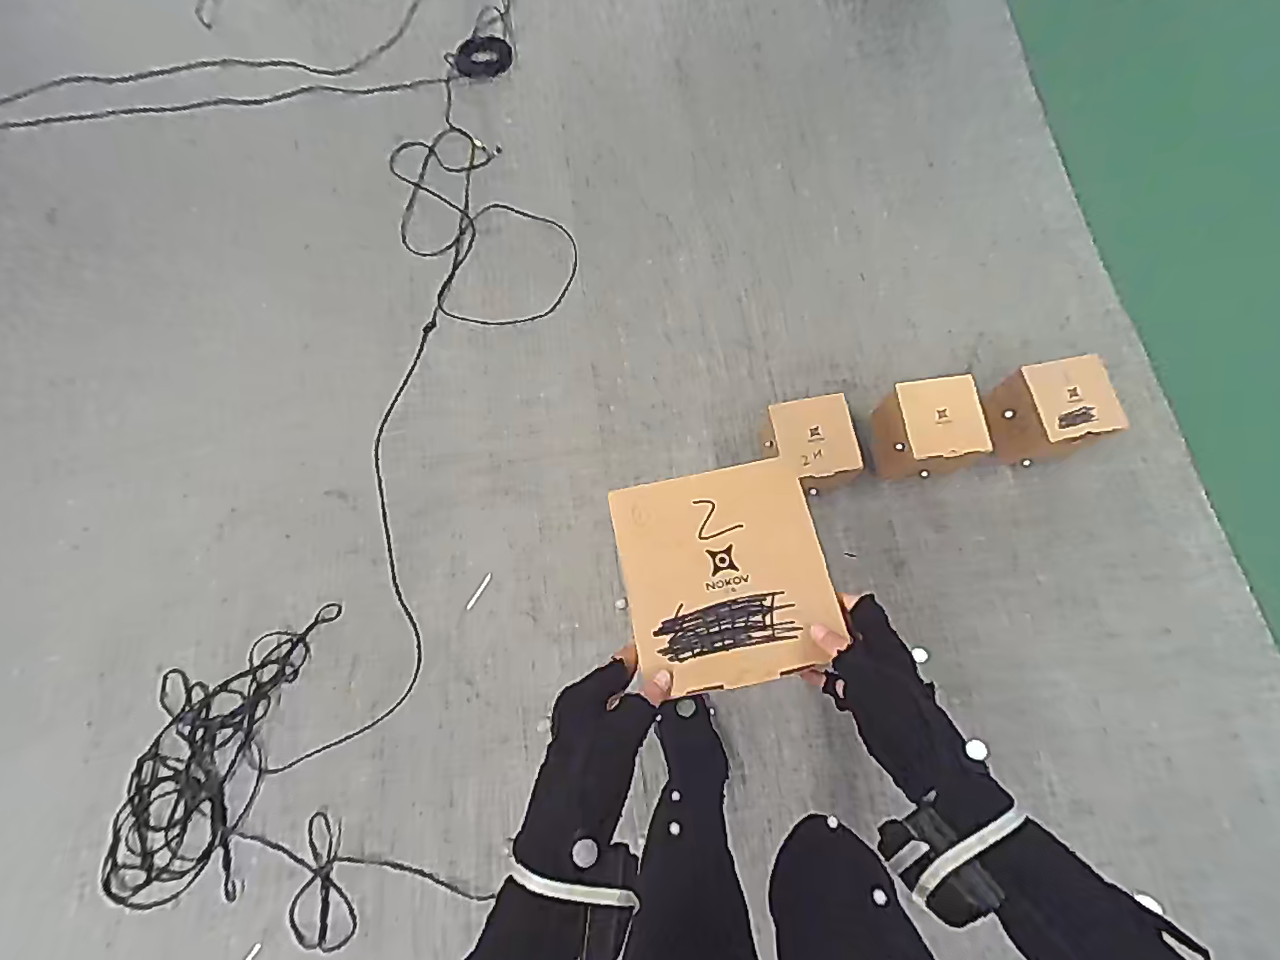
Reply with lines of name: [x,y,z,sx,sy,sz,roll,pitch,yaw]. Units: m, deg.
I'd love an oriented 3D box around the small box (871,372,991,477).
small box: [0.637,-0.119,1.209,0.168,0.176,0.179,-7,75,2]

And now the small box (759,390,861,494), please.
small box: [0.372,-0.080,1.217,0.168,0.176,0.179,-9,75,3]

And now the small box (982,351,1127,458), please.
small box: [0.903,-0.157,1.198,0.168,0.176,0.179,-10,74,2]
